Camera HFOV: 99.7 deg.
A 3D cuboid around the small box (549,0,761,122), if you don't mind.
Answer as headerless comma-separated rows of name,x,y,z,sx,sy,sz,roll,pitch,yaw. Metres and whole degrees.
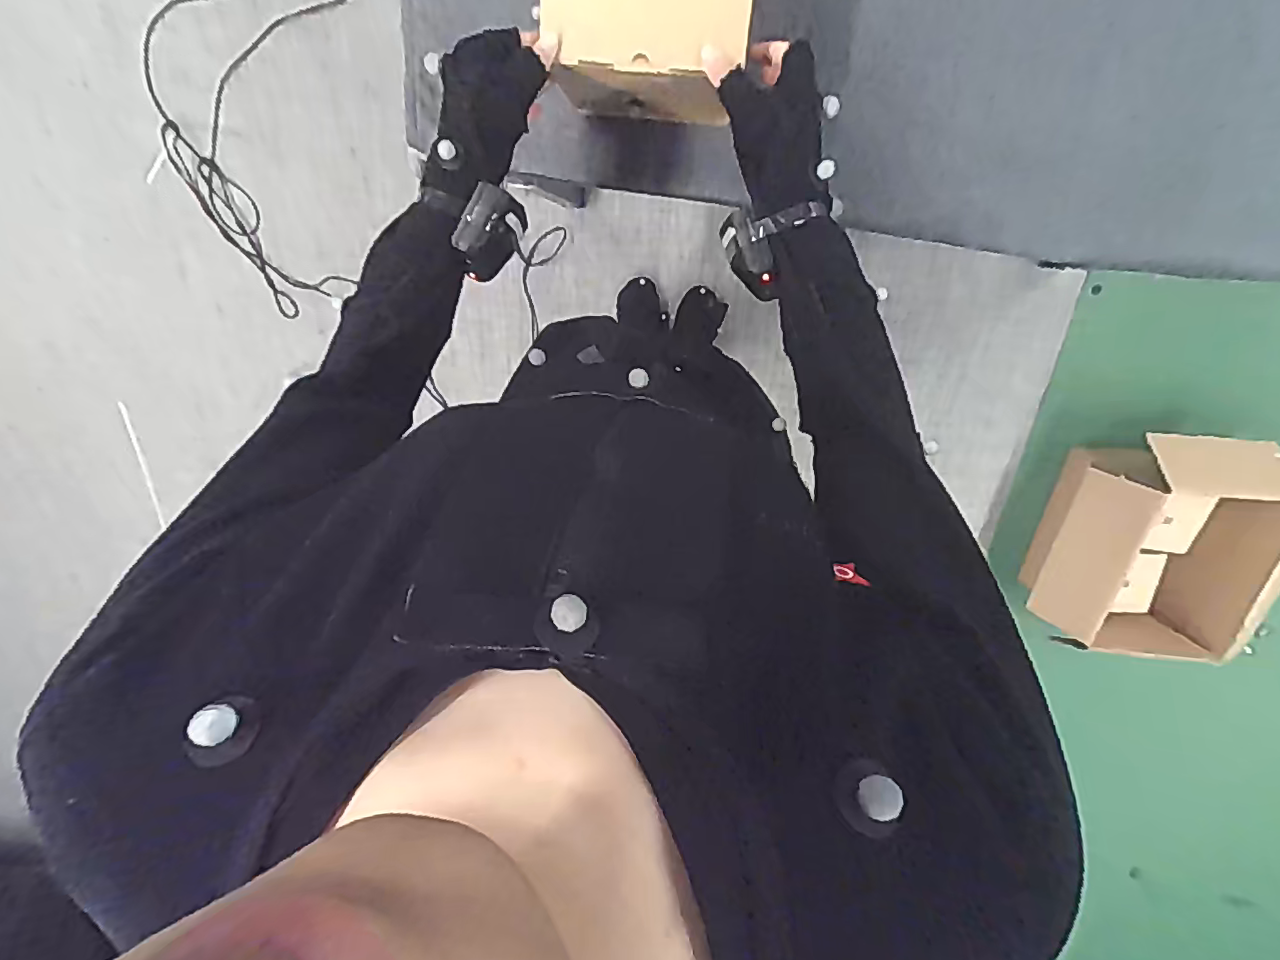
small box,0.021,-0.441,0.475,0.168,0.176,0.179,6,114,3
